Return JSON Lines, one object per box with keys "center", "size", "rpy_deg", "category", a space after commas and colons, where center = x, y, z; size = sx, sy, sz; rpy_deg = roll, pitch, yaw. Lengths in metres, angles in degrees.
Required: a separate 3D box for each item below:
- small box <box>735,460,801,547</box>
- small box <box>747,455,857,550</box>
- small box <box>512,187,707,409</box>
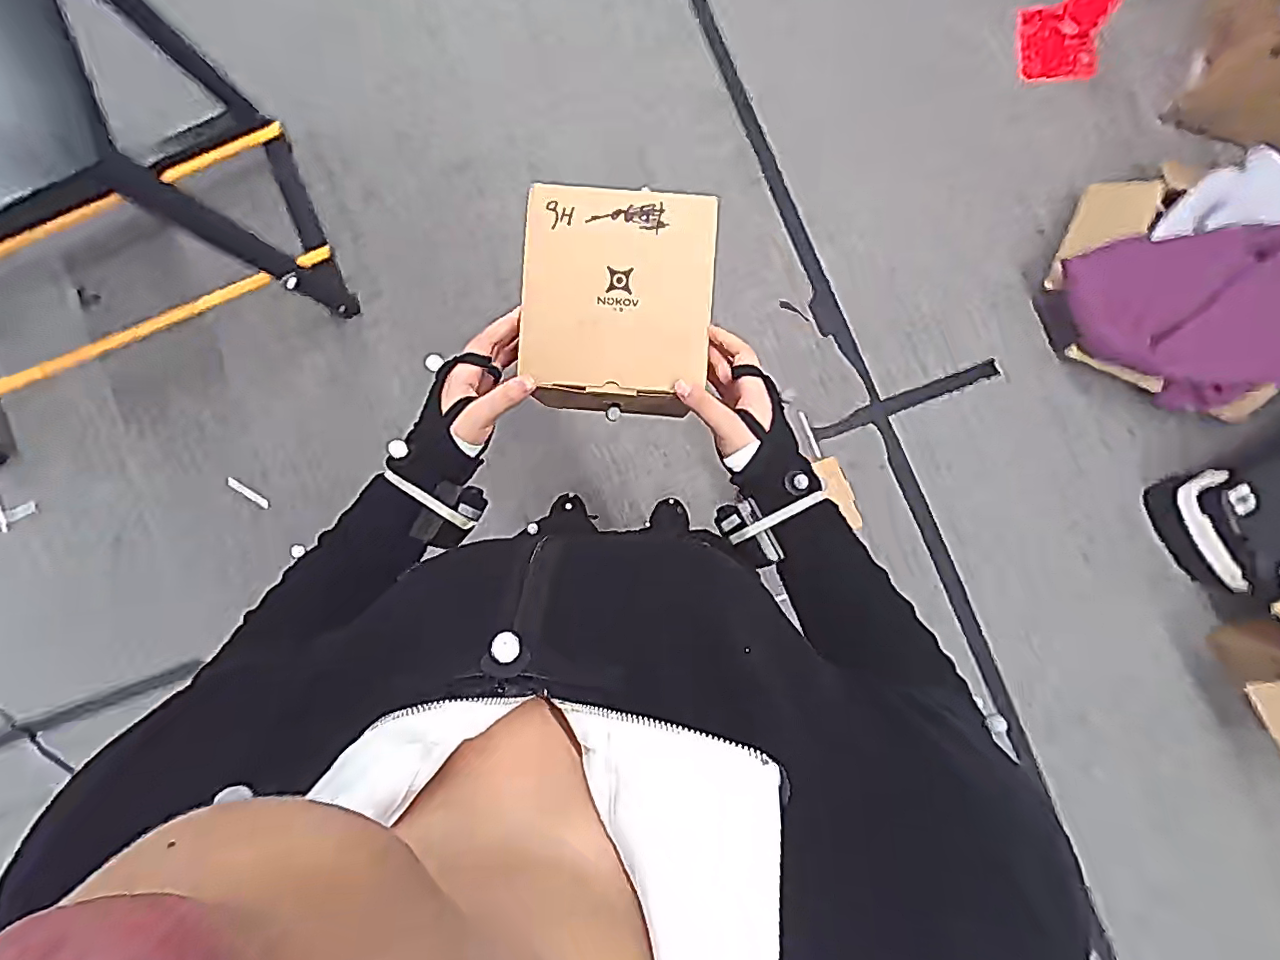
{"center": [0.362, 0.058, 1.410], "size": [0.168, 0.176, 0.179], "rpy_deg": [-22, 89, 2], "category": "small box"}
{"center": [0.365, 0.048, 1.247], "size": [0.179, 0.176, 0.168], "rpy_deg": [-21, 88, 3], "category": "small box"}
{"center": [-0.028, -0.167, 0.553], "size": [0.168, 0.176, 0.179], "rpy_deg": [3, 92, -1], "category": "small box"}
